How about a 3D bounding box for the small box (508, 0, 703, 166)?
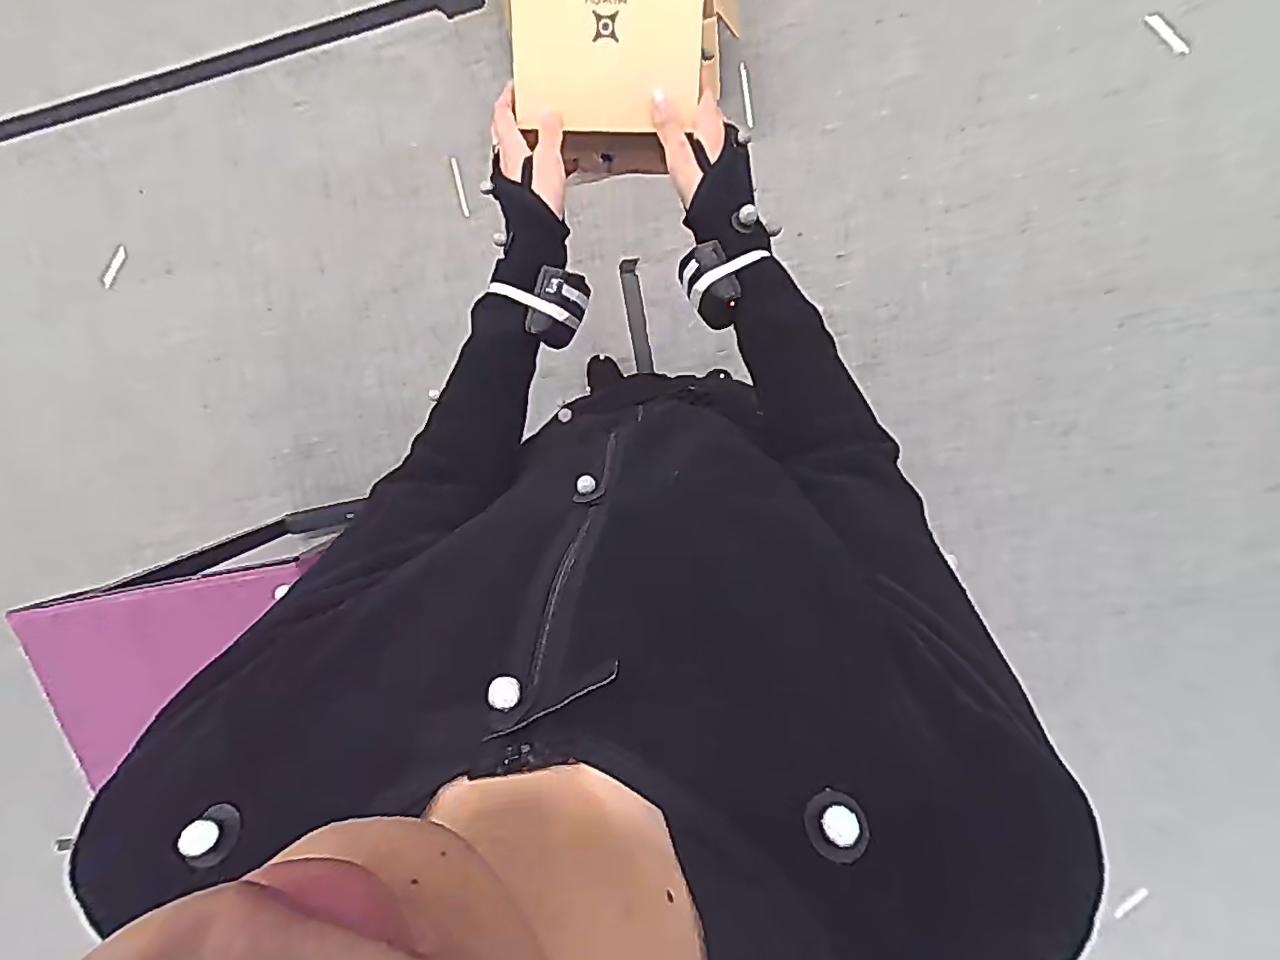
[{"bbox_3d":[-0.026,-0.420,0.524,0.168,0.176,0.179,2,108,0],"label":"small box"}]
